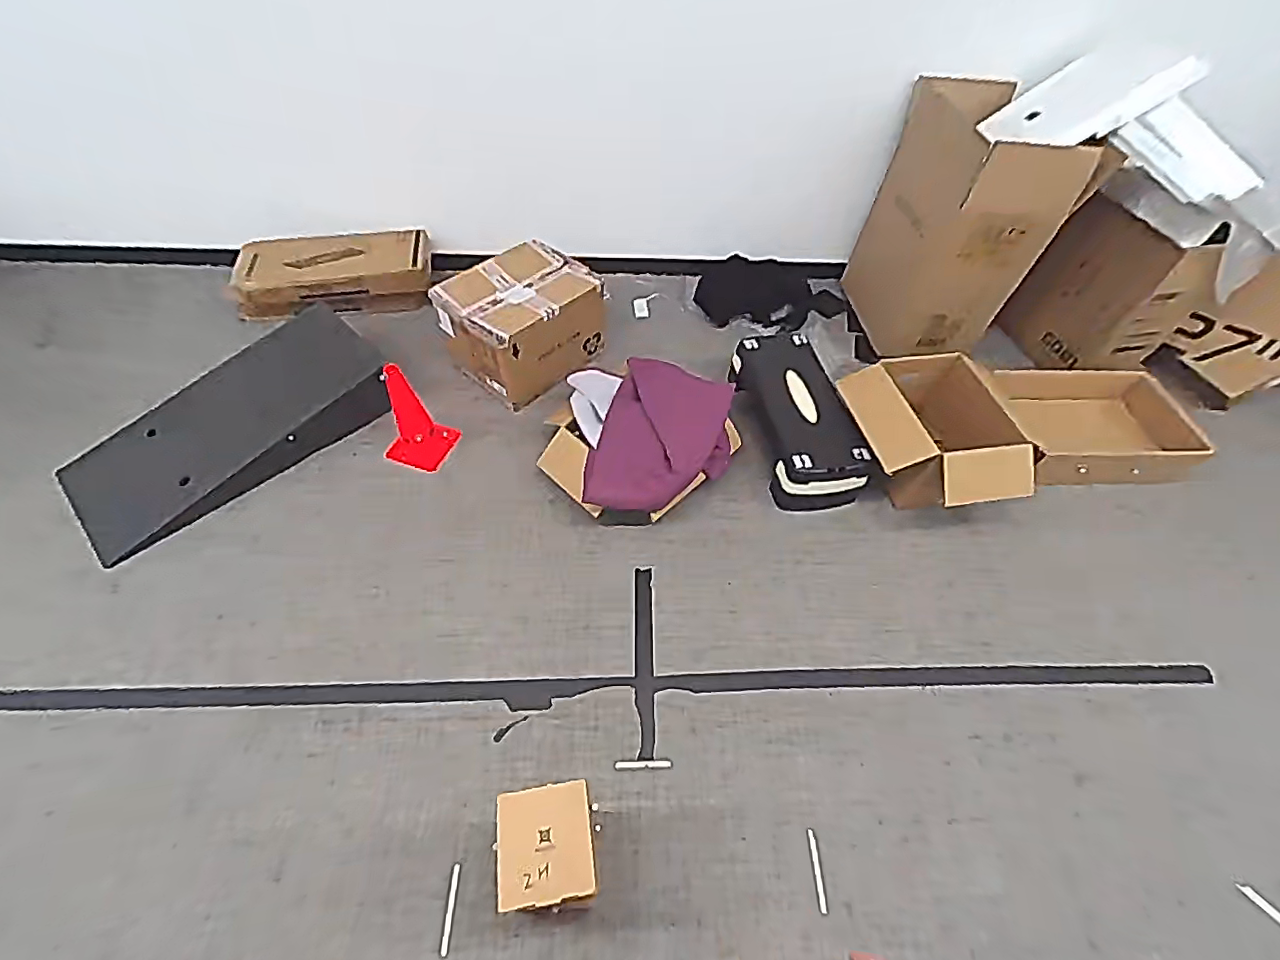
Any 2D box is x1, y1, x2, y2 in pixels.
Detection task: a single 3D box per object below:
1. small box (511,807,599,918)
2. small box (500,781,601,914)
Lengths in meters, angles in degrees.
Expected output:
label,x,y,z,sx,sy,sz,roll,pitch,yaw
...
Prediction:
label,x,y,z,sx,sy,sz,roll,pitch,yaw
small box,-0.172,0.797,1.133,0.168,0.176,0.179,-3,54,-4
small box,-0.165,0.687,1.010,0.168,0.176,0.179,-7,53,-6
